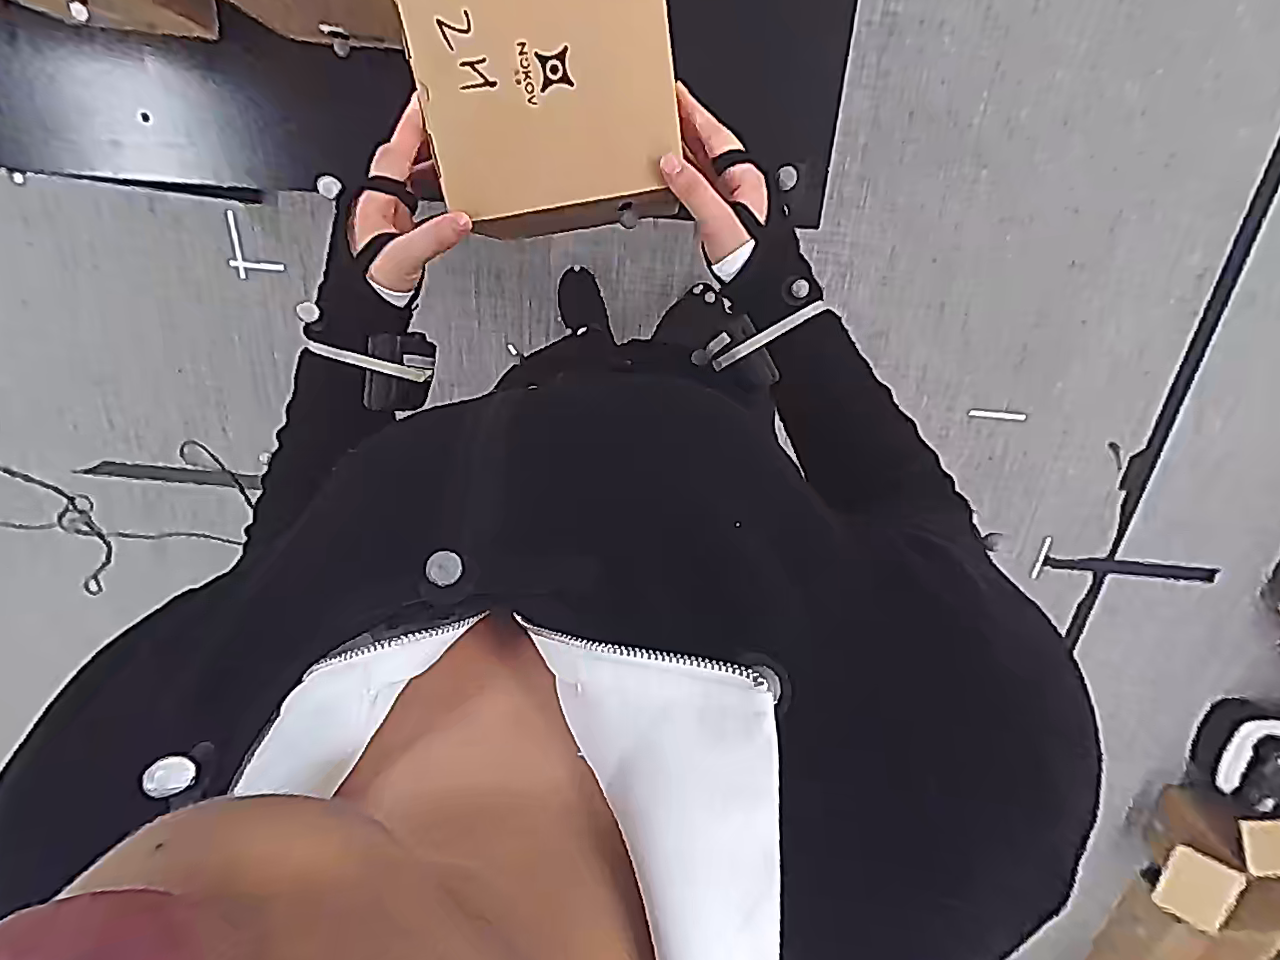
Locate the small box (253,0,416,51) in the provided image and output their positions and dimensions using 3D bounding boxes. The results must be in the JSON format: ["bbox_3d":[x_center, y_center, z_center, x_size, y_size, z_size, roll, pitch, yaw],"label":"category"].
[{"bbox_3d":[-0.282,-0.518,0.476,0.168,0.176,0.179,4,113,1],"label":"small box"}]

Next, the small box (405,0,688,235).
[{"bbox_3d":[-0.061,-0.304,0.441,0.179,0.176,0.168,-7,110,4],"label":"small box"}]

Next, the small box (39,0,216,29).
[{"bbox_3d":[-0.521,-0.533,0.473,0.168,0.176,0.179,4,112,-2],"label":"small box"}]
